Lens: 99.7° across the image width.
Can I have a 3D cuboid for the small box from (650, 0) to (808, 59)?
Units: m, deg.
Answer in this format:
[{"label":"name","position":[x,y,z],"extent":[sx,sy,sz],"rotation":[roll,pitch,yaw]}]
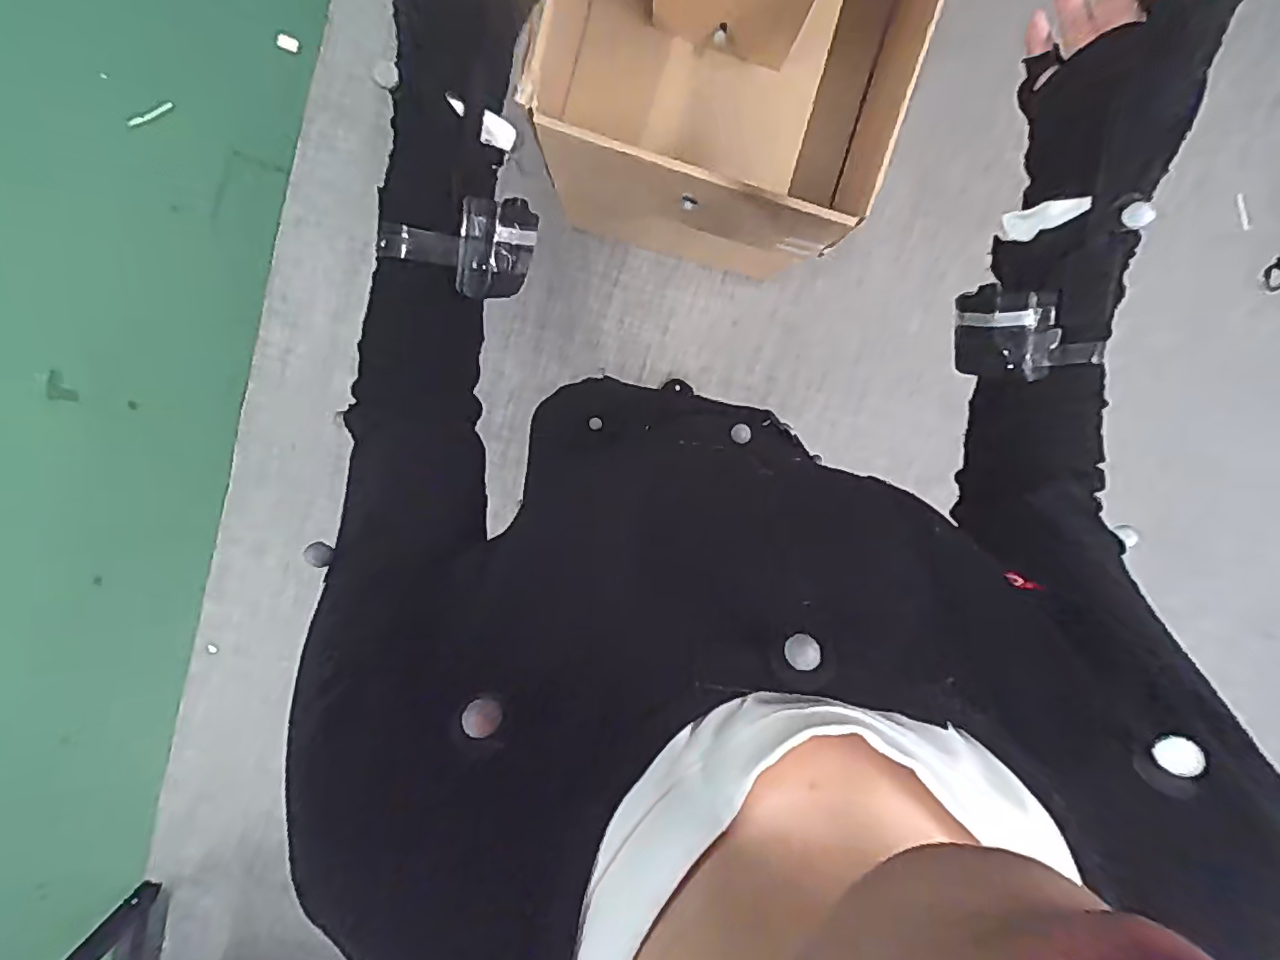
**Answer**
[{"label":"small box","position":[0.120,-0.615,0.593],"extent":[0.179,0.176,0.168],"rotation":[16,96,-6]}]
